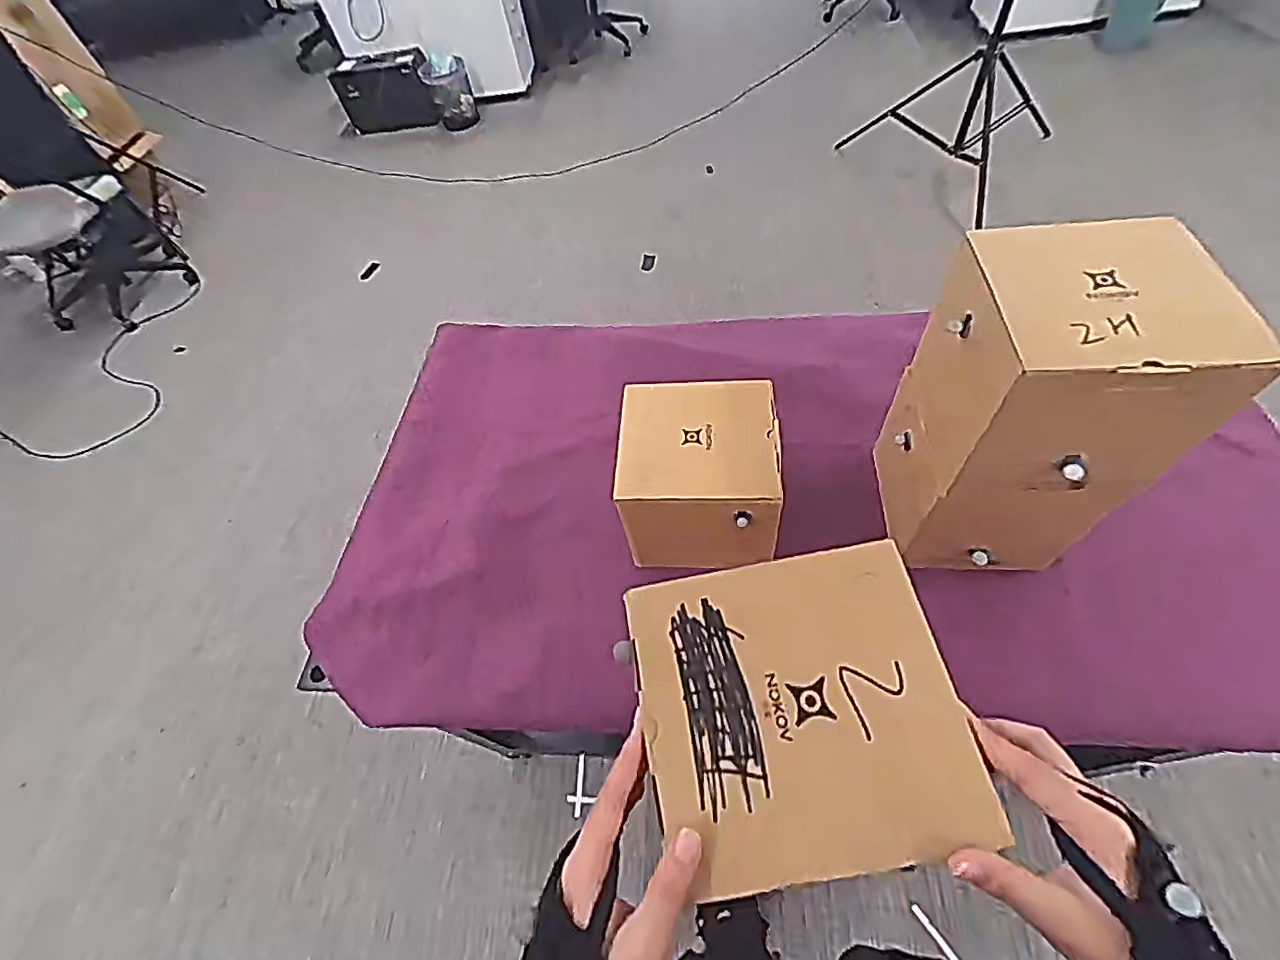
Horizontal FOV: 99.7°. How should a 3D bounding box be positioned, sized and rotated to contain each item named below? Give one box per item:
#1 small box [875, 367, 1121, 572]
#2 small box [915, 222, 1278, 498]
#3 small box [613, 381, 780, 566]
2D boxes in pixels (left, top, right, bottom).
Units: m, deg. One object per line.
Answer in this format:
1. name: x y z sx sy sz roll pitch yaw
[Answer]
1. small box: 0.384 -0.011 0.624 0.168 0.176 0.179 0 57 9
2. small box: 0.368 -0.103 0.488 0.168 0.176 0.179 0 56 9
3. small box: 0.072 -0.002 0.666 0.179 0.176 0.168 -1 56 7
